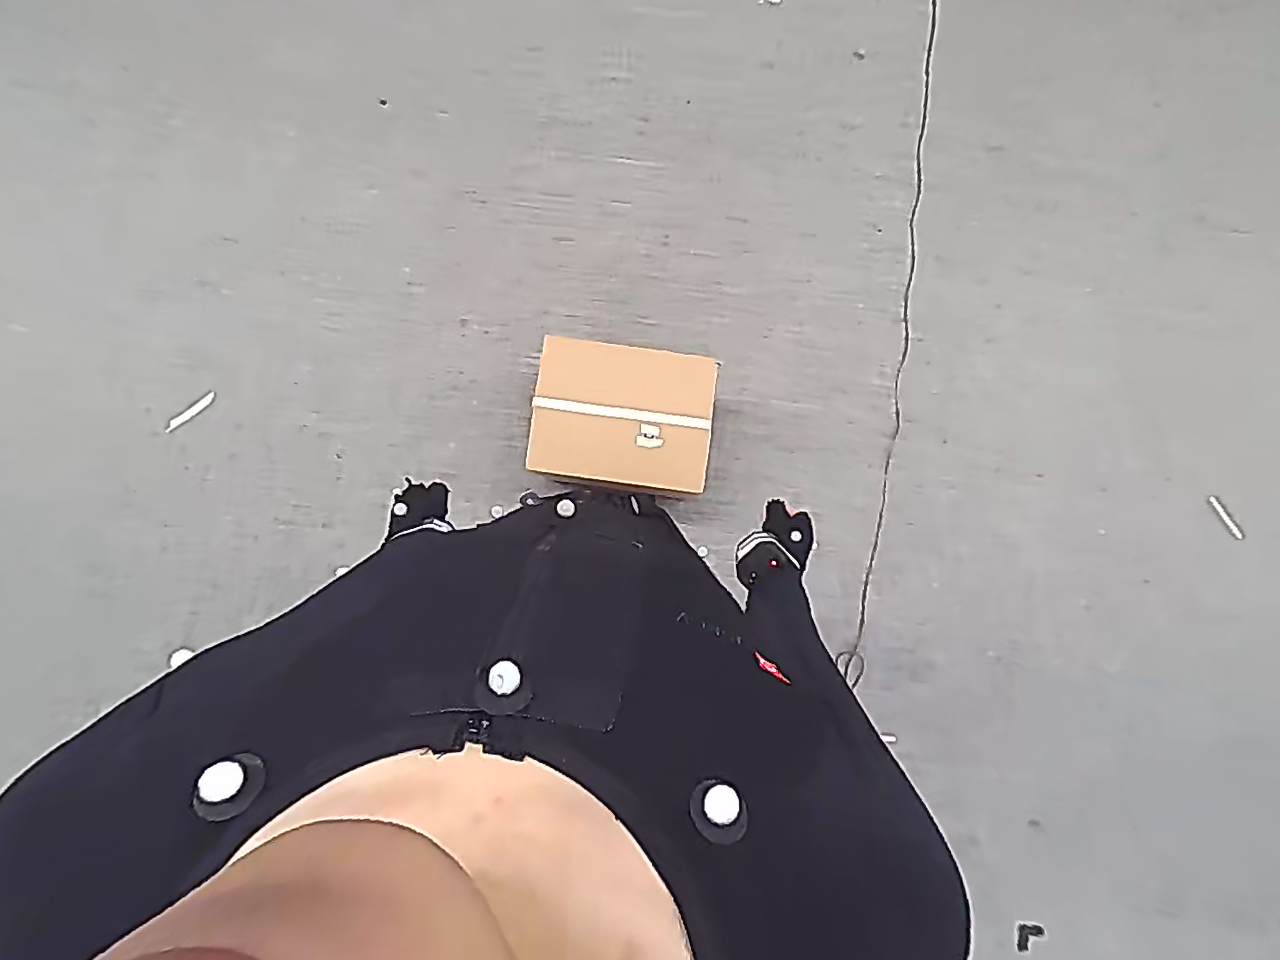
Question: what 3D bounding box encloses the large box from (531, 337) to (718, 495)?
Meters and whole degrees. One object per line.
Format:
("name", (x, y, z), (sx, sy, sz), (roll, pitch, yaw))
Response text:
("large box", (-0.041, -0.143, 1.377), (0.408, 0.320, 0.320), (7, 86, -2))
